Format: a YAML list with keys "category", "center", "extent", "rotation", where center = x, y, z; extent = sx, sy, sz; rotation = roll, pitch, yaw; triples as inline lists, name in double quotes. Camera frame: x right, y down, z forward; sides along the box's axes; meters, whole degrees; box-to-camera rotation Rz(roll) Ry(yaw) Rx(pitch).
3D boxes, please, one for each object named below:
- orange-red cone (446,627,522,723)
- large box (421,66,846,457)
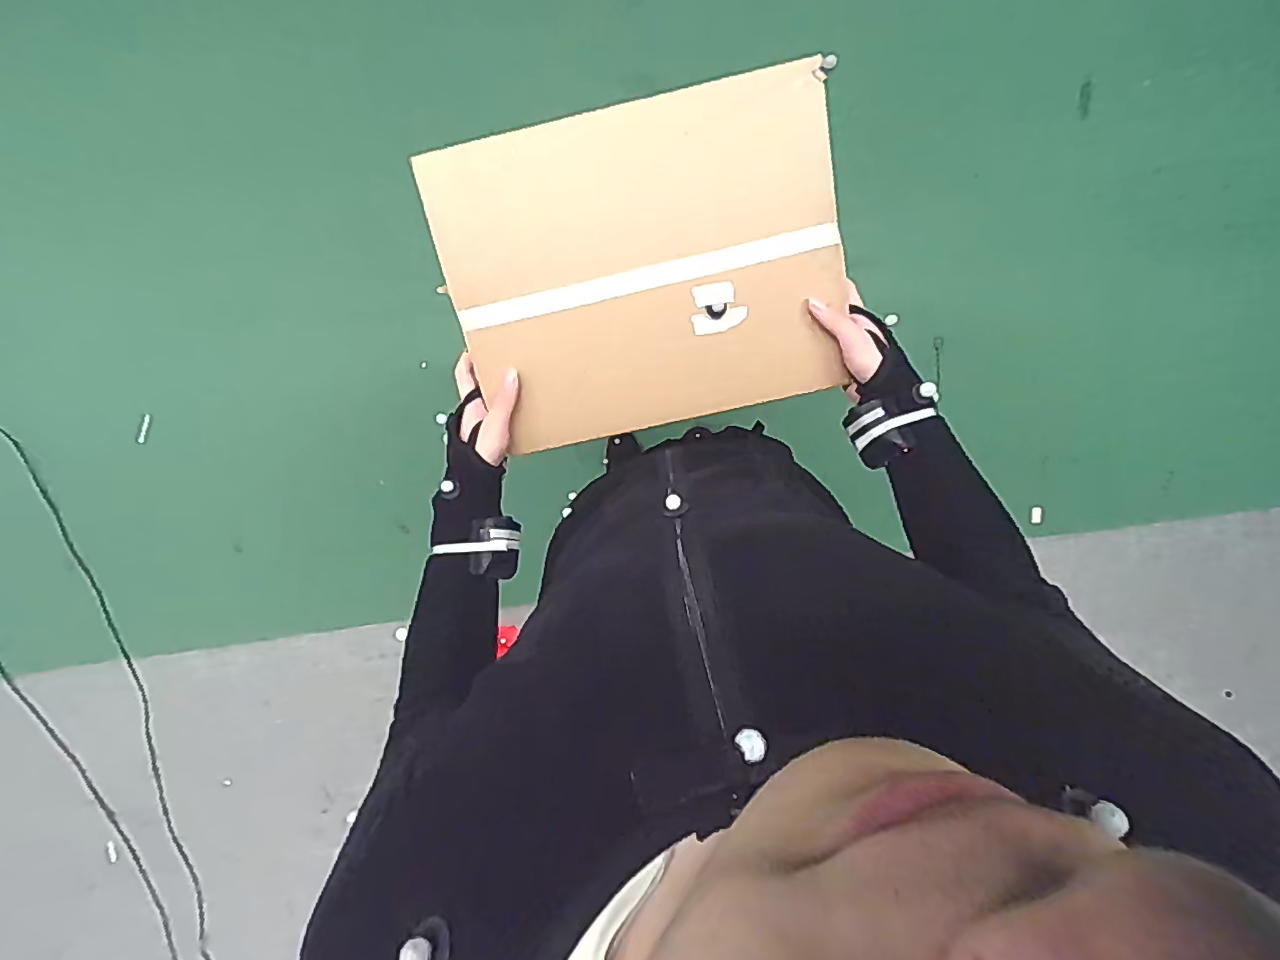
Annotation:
- category: "orange-red cone"
  center: [-0.464, 0.566, 1.503]
  extent: [0.199, 0.360, 0.198]
  rotation: [0, 95, 0]
- category: "large box"
  center: [0.001, -0.255, 0.714]
  extent: [0.408, 0.320, 0.320]
  rotation: [-13, 108, 2]
